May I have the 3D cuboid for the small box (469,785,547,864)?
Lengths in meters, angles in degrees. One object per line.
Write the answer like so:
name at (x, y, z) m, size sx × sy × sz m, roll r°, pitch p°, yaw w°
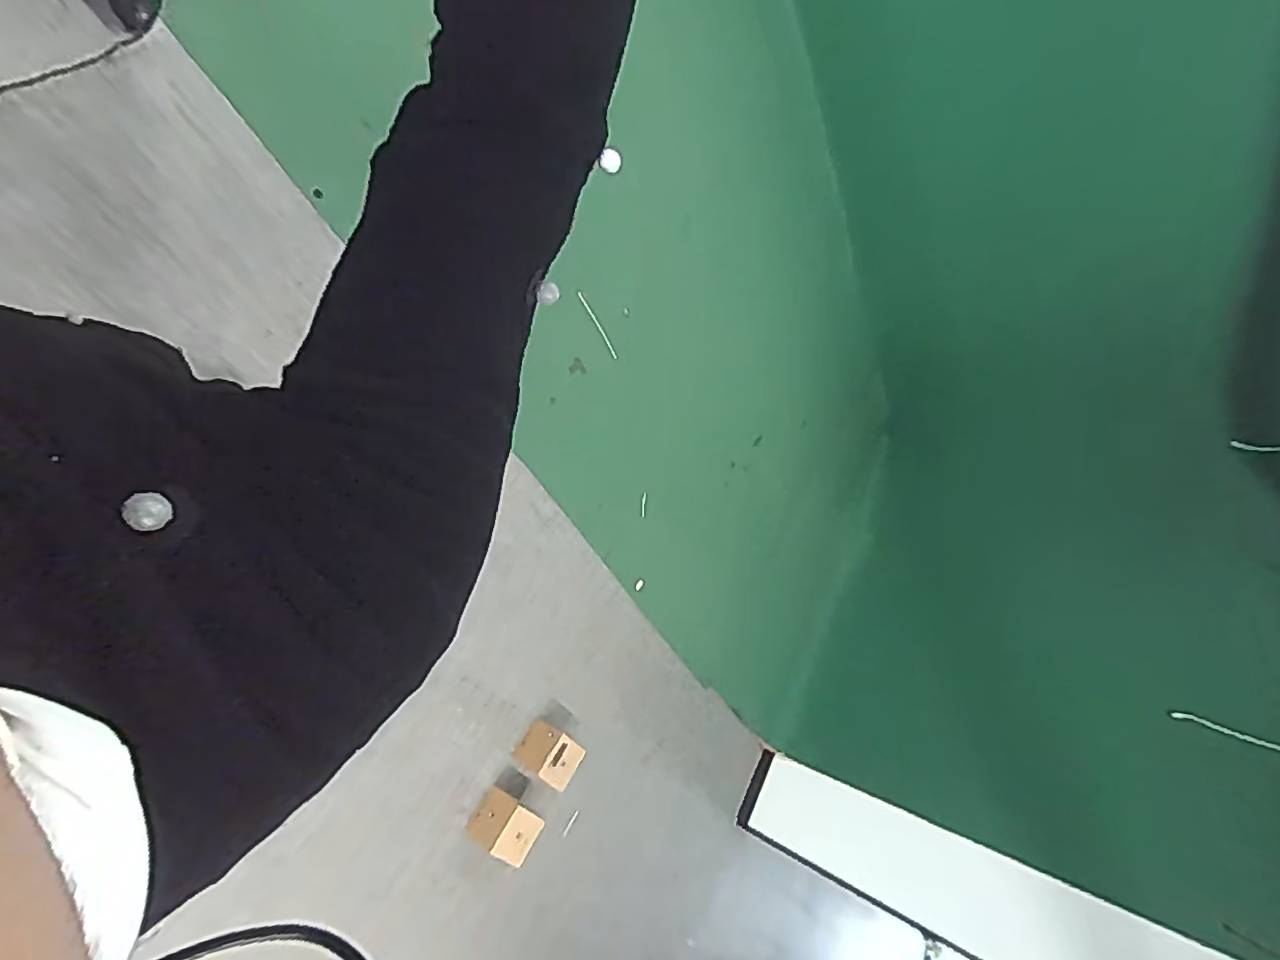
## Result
small box at (-0.482, 1.241, 1.961) m, size 0.168 × 0.176 × 0.179 m, roll -55°, pitch 130°, yaw -28°
